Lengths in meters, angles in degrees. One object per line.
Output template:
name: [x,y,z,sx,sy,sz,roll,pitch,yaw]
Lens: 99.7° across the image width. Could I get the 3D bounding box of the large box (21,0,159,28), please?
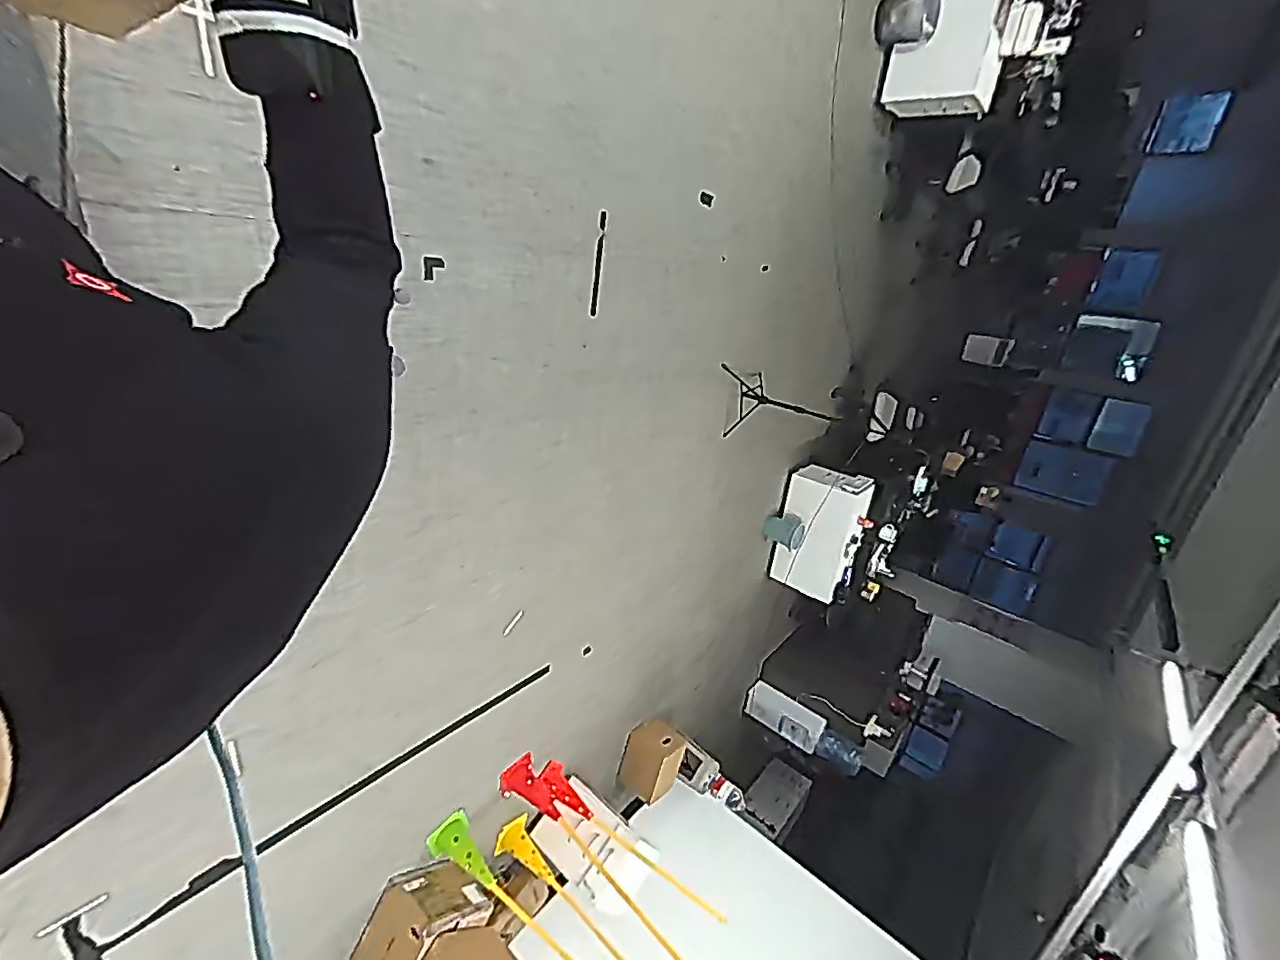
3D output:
large box: [-0.479,-0.475,0.222,0.408,0.320,0.320,-13,122,-49]
